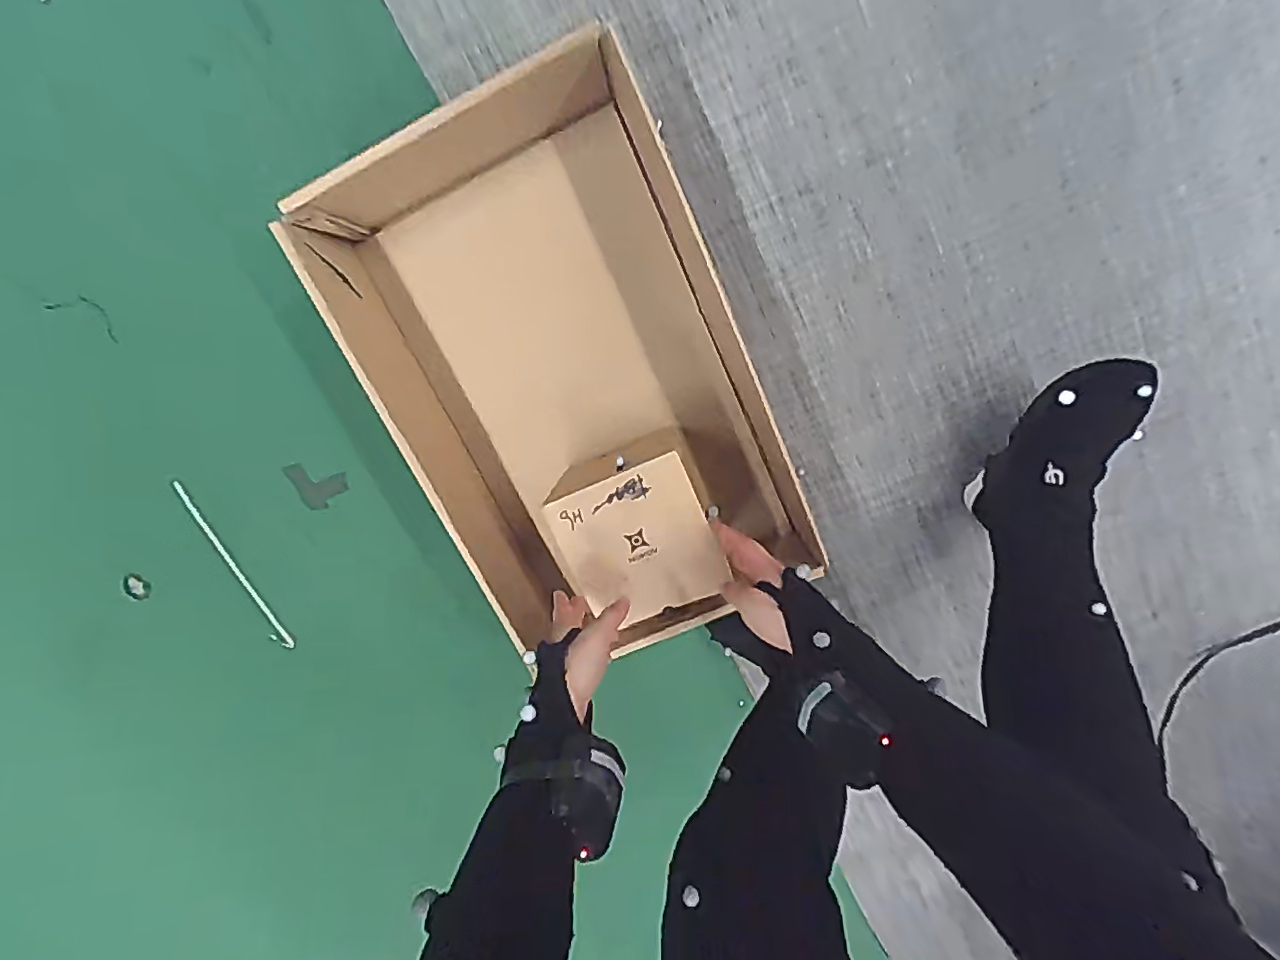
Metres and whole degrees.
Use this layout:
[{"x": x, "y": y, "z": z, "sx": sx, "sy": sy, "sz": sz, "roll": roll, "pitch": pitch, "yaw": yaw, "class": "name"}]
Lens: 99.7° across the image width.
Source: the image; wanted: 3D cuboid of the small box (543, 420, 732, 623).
[{"x": 0.002, "y": 0.042, "z": 0.679, "sx": 0.168, "sy": 0.176, "sz": 0.179, "roll": -22, "pitch": 104, "yaw": 7, "class": "small box"}]
